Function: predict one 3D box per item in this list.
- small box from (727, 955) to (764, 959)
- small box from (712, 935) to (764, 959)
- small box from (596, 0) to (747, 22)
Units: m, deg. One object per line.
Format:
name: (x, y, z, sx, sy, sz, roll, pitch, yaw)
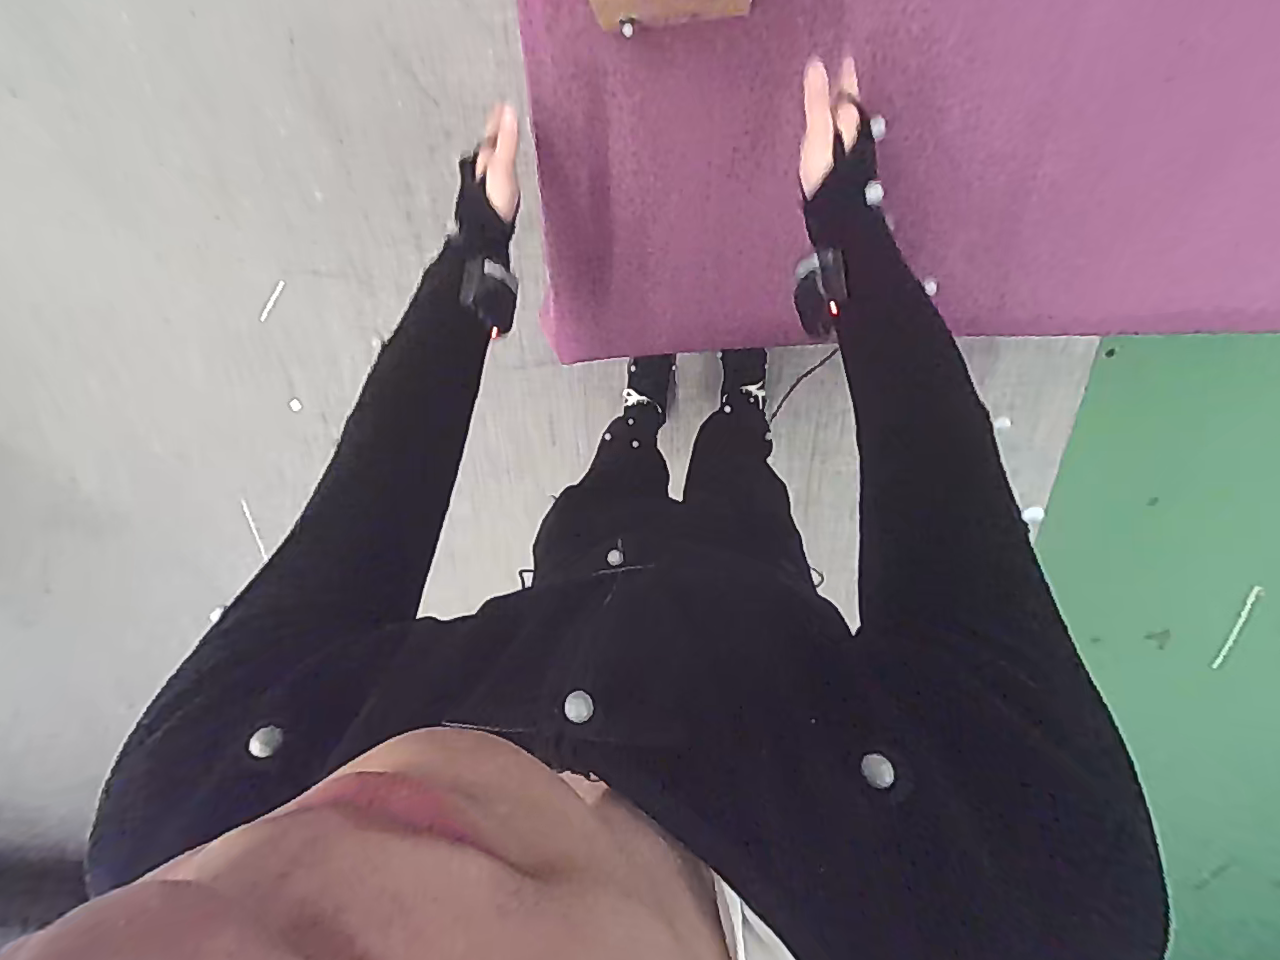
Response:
small box: (0.329, 1.520, 1.562, 0.168, 0.176, 0.179, 4, 115, 4)
small box: (0.331, 1.684, 1.817, 0.168, 0.176, 0.179, 3, 113, 3)
small box: (0.027, -0.559, 0.499, 0.168, 0.176, 0.179, -2, 113, 5)
